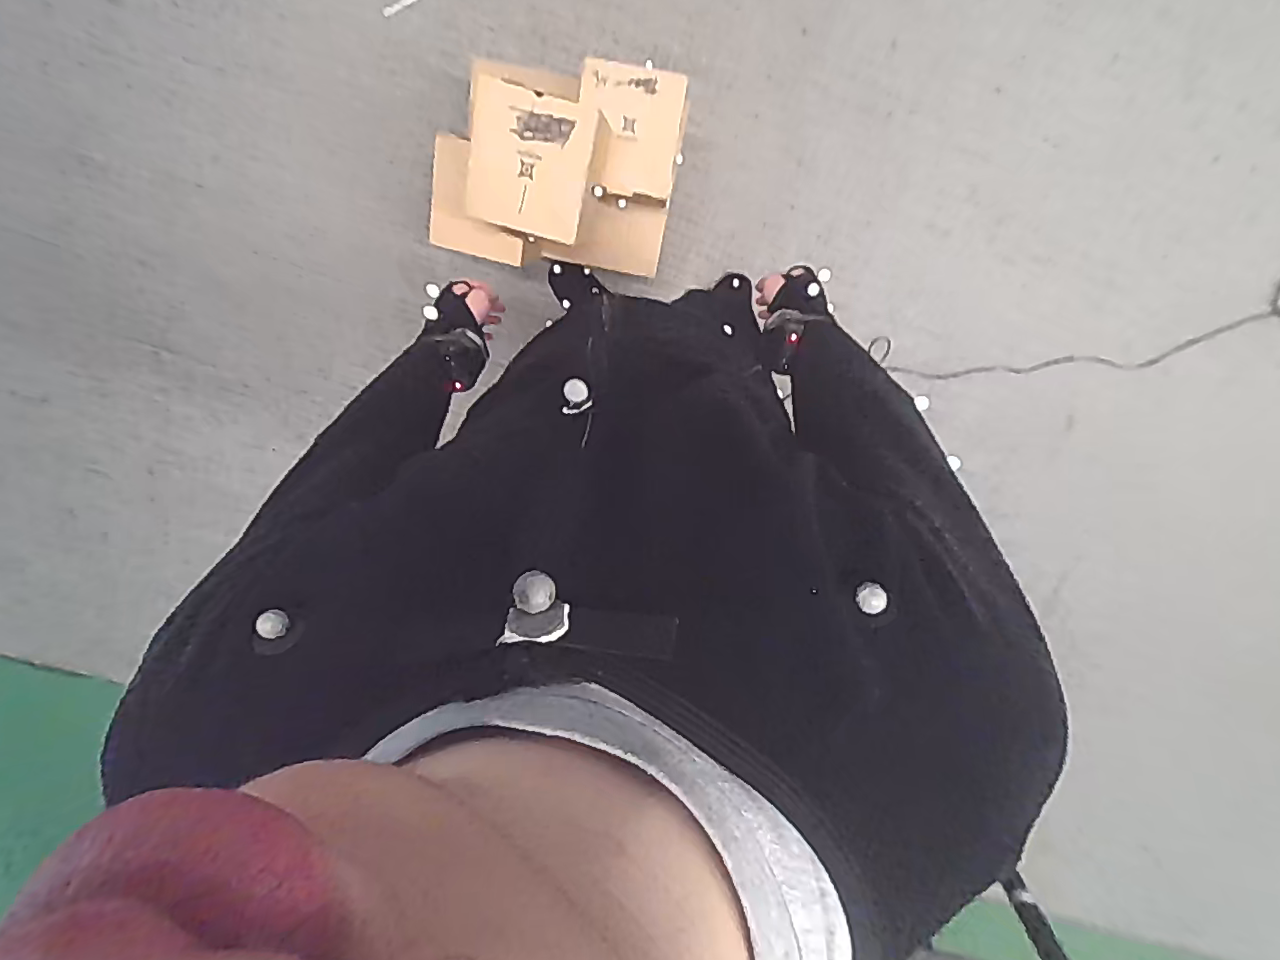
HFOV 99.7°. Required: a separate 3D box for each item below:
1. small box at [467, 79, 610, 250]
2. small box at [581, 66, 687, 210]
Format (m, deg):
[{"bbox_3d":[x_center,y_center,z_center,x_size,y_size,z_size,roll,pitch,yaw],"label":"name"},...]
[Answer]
[{"bbox_3d":[-0.146,-0.465,0.823,0.168,0.176,0.179,15,116,-3],"label":"small box"},{"bbox_3d":[-0.014,-0.582,0.945,0.168,0.176,0.179,9,114,-1],"label":"small box"}]
